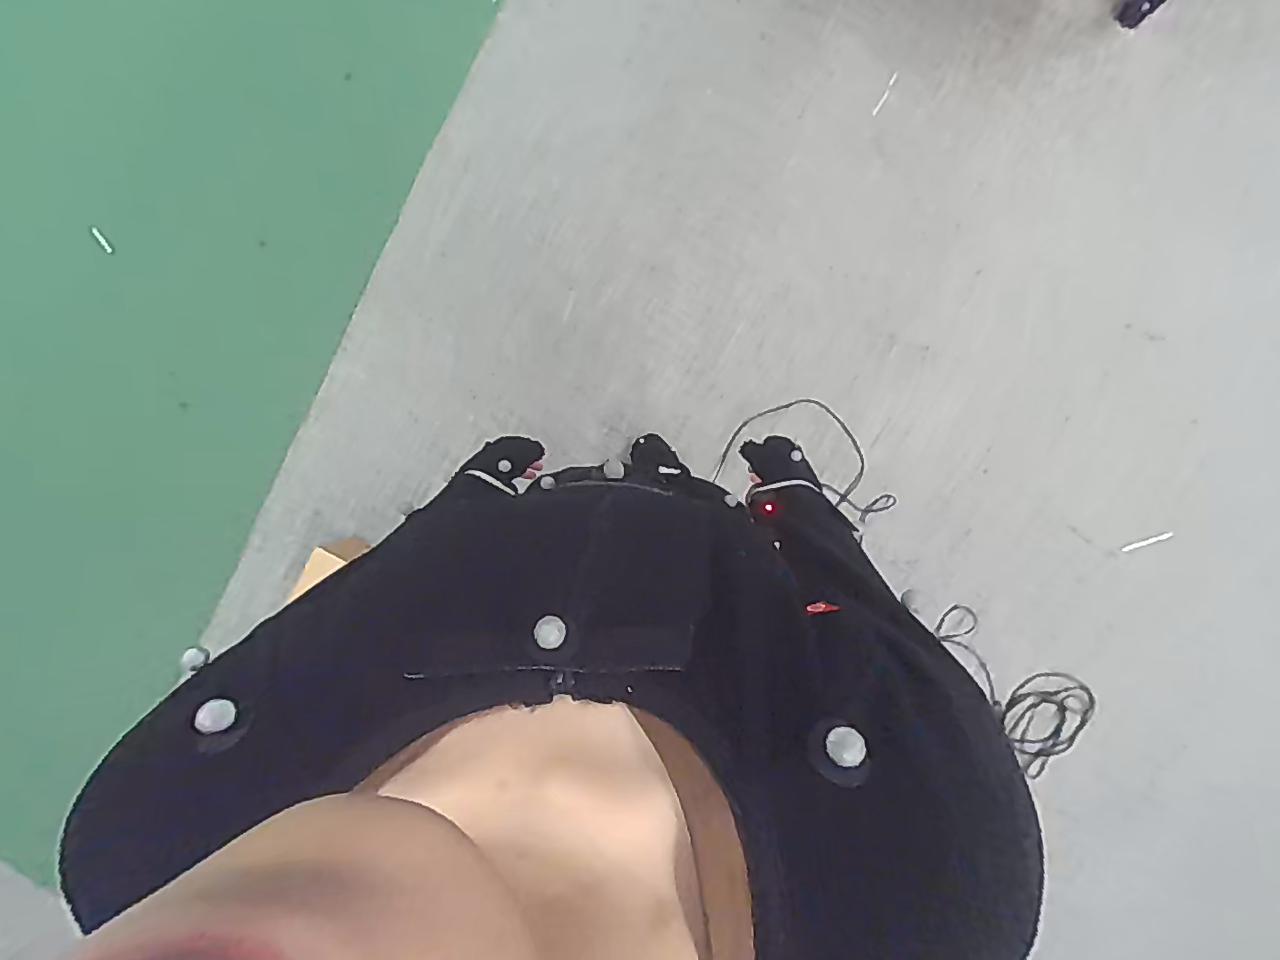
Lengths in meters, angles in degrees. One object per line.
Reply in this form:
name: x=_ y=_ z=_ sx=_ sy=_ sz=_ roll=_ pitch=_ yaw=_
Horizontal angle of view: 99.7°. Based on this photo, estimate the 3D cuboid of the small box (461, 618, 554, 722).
small box: x=-0.340 y=0.492 z=1.431 sx=0.168 sy=0.176 sz=0.179 roll=27 pitch=94 yaw=-1

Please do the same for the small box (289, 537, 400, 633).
small box: x=-0.765 y=0.267 z=1.426 sx=0.168 sy=0.176 sz=0.179 roll=28 pitch=93 yaw=0
